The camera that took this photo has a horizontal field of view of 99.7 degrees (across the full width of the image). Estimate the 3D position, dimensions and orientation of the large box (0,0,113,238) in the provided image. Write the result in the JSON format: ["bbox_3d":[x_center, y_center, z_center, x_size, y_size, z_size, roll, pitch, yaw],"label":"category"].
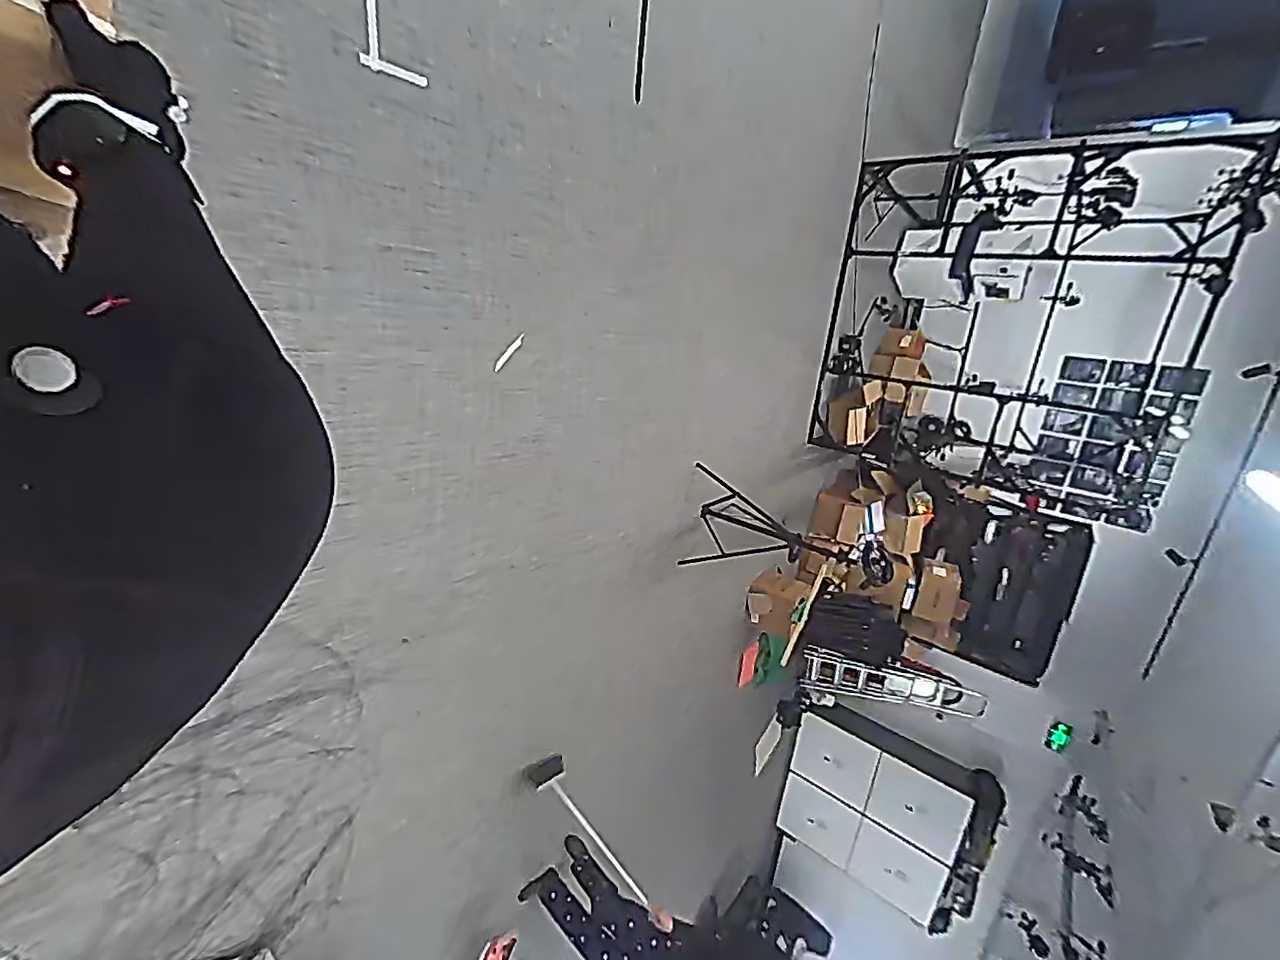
[{"bbox_3d":[-0.718,-0.421,0.409,0.408,0.320,0.320,1,99,-58],"label":"large box"}]
